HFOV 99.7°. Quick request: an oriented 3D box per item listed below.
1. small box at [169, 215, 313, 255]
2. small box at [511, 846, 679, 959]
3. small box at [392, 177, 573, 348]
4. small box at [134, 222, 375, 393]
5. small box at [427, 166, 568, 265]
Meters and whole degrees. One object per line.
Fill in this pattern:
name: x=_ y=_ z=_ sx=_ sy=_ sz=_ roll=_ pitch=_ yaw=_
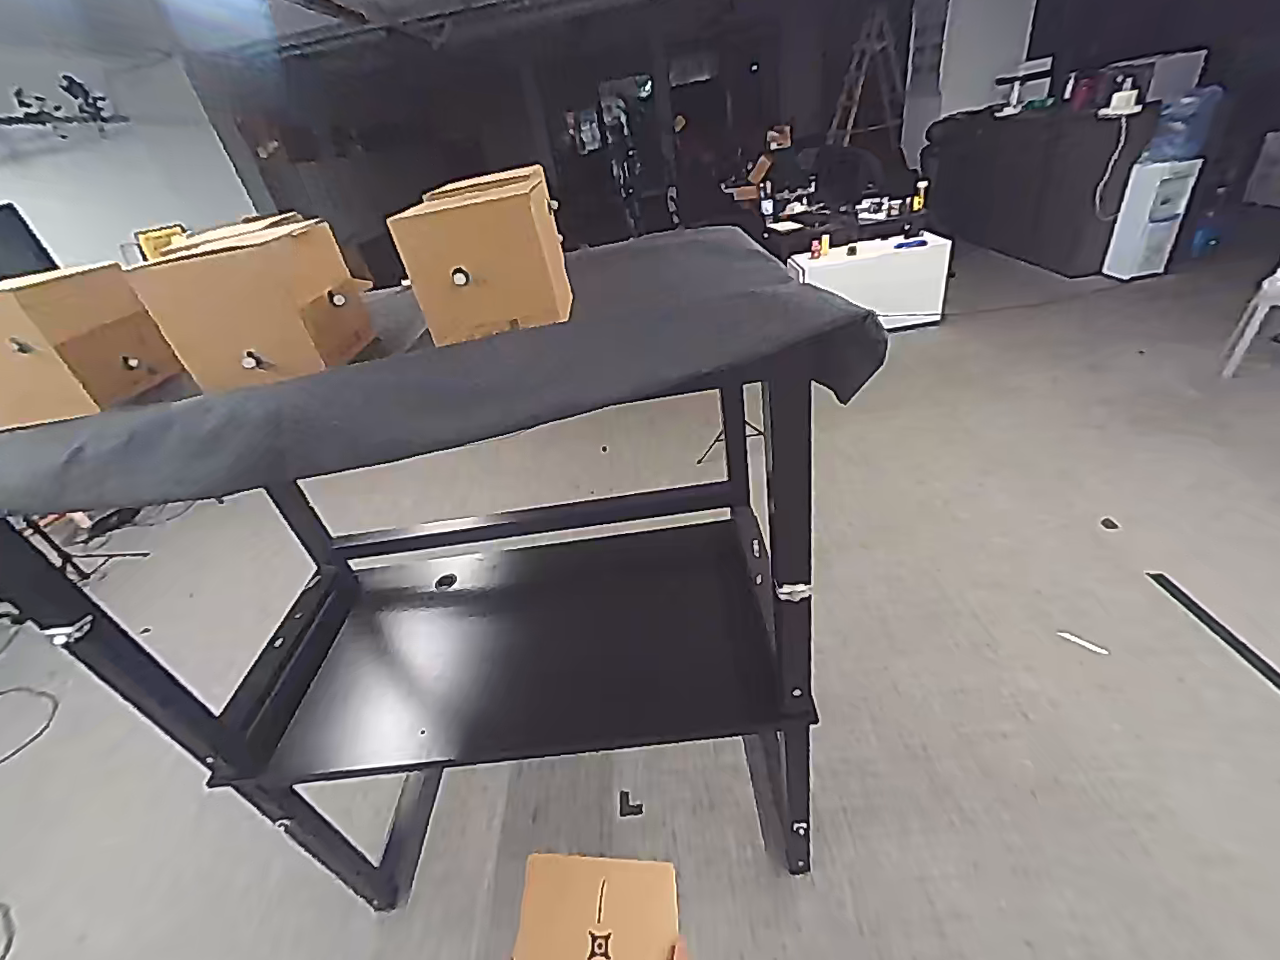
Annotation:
small box: x=-0.665 y=-0.360 z=0.969 sx=0.168 sy=0.176 sz=0.179 roll=-13 pitch=34 yaw=0
small box: x=-0.053 y=0.526 z=0.570 sx=0.168 sy=0.176 sz=0.179 roll=7 pitch=31 yaw=-5
small box: x=-0.190 y=-0.284 z=0.715 sx=0.168 sy=0.176 sz=0.179 roll=-10 pitch=33 yaw=3
small box: x=-0.495 y=-0.234 z=0.733 sx=0.179 sy=0.176 sz=0.168 roll=-9 pitch=33 yaw=3
small box: x=-0.239 y=-0.438 z=0.954 sx=0.179 sy=0.176 sz=0.168 roll=-9 pitch=35 yaw=5
